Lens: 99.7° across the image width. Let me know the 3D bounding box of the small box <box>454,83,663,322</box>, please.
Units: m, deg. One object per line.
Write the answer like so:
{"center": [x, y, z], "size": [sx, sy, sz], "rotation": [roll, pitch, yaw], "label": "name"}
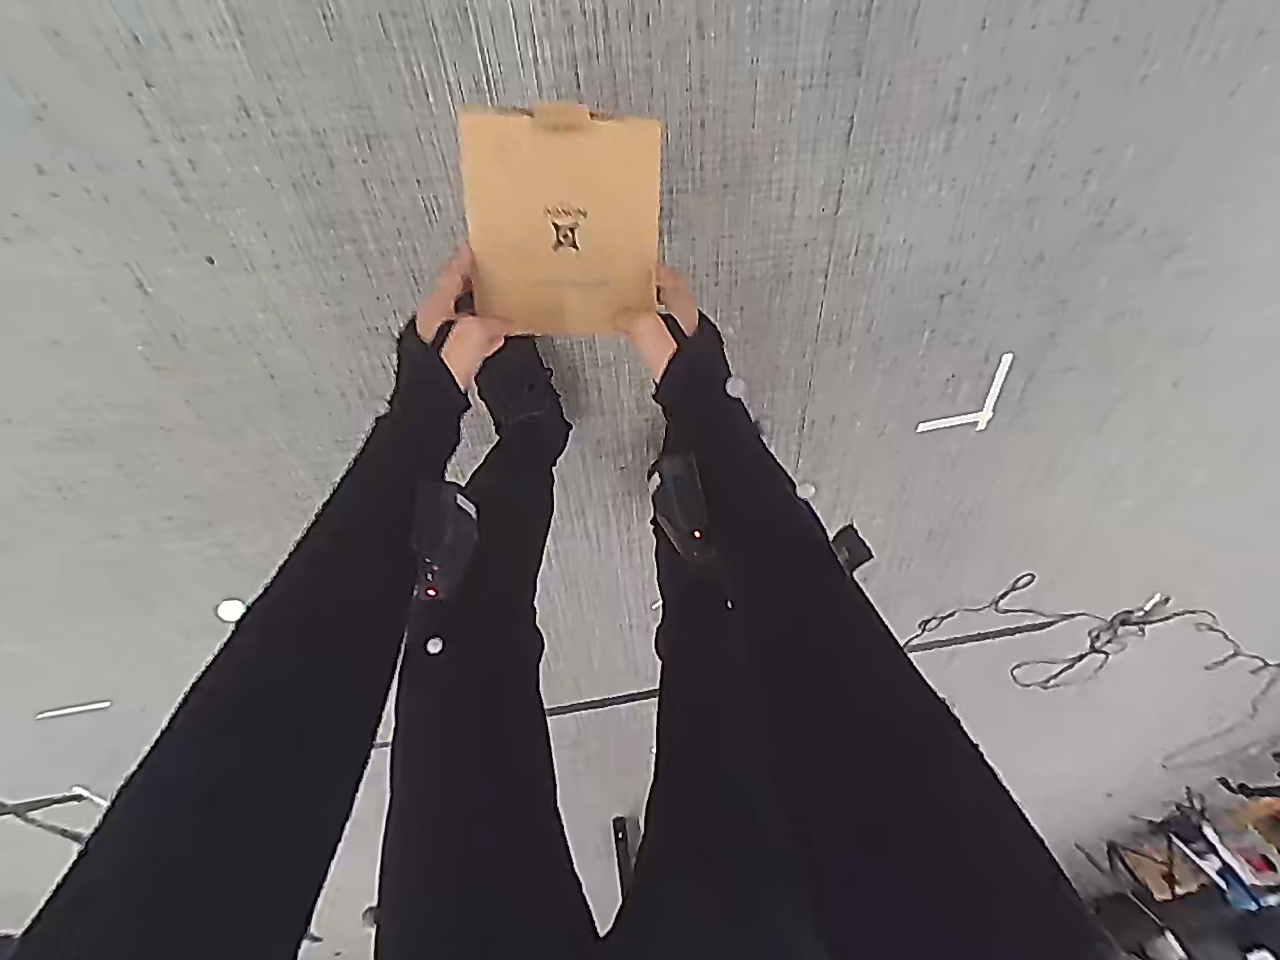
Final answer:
{"center": [-0.076, -0.252, 0.525], "size": [0.168, 0.176, 0.179], "rotation": [-2, 113, -8], "label": "small box"}
